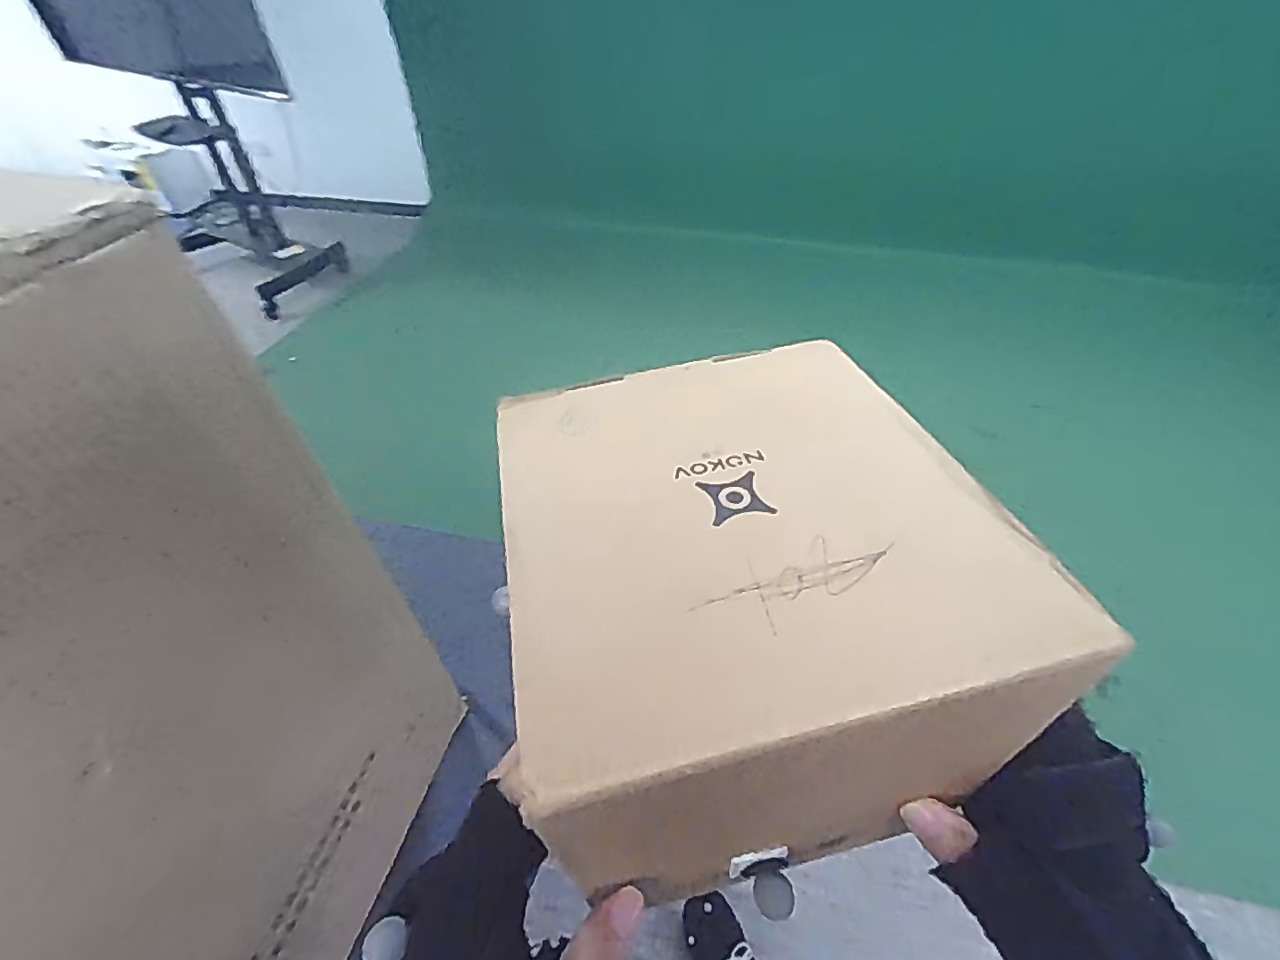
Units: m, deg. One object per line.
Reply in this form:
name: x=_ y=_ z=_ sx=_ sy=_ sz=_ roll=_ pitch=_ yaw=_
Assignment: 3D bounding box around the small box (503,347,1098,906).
small box: x=0.037 y=0.064 z=0.257 sx=0.168 sy=0.176 sz=0.179 roll=-12 pitch=45 yaw=-5
